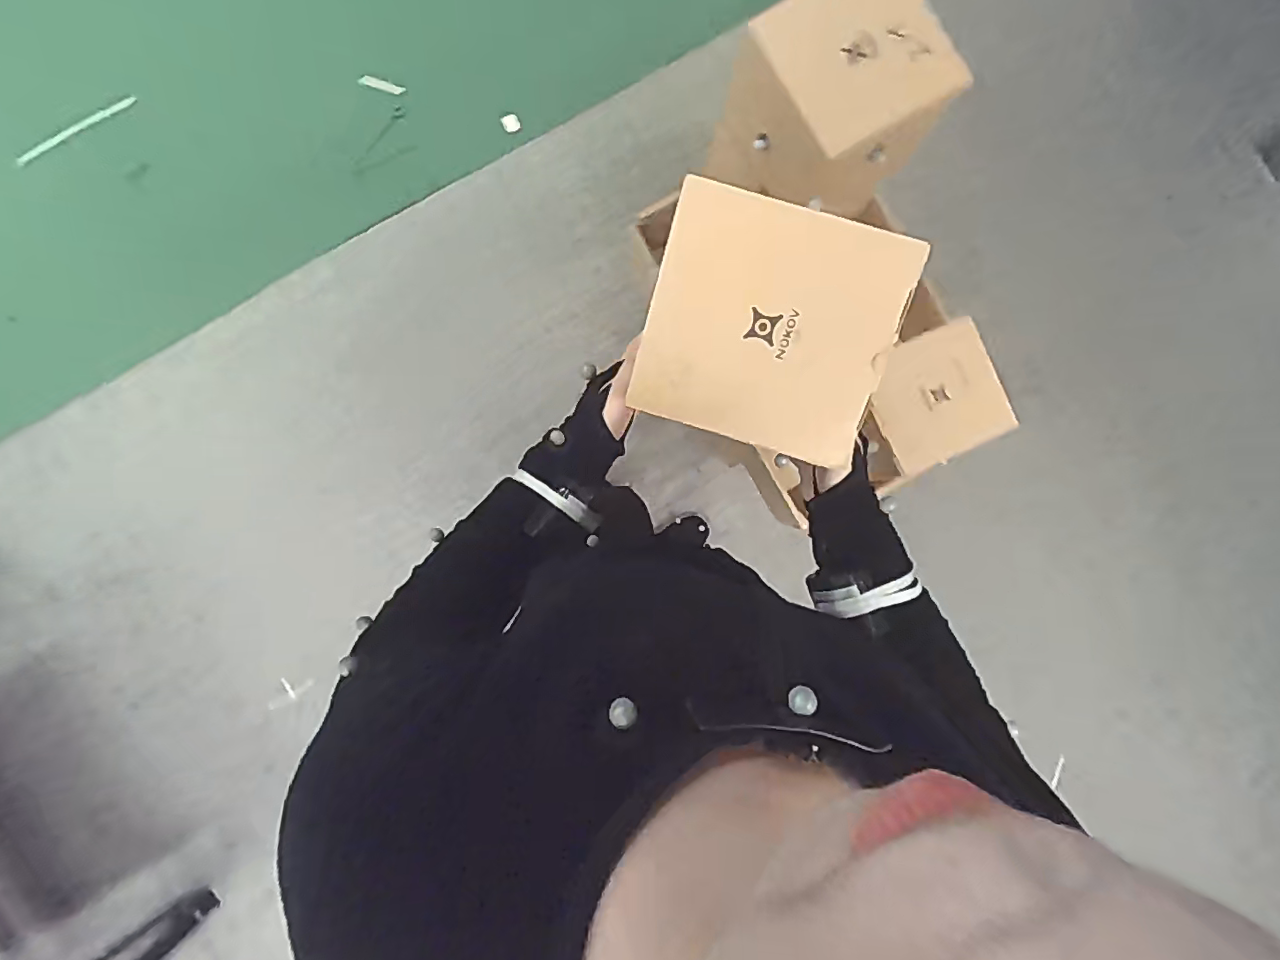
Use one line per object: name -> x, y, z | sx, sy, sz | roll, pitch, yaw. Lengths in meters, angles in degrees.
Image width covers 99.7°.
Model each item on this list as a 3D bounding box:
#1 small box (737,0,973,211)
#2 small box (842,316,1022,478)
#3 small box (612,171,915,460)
small box -> 0.229, -0.435, 0.634 | 0.179, 0.176, 0.168 | -29, 89, -2
small box -> 0.393, -0.108, 0.790 | 0.179, 0.176, 0.168 | -23, 90, -2
small box -> 0.089, -0.130, 0.461 | 0.179, 0.176, 0.168 | 15, 104, 1
